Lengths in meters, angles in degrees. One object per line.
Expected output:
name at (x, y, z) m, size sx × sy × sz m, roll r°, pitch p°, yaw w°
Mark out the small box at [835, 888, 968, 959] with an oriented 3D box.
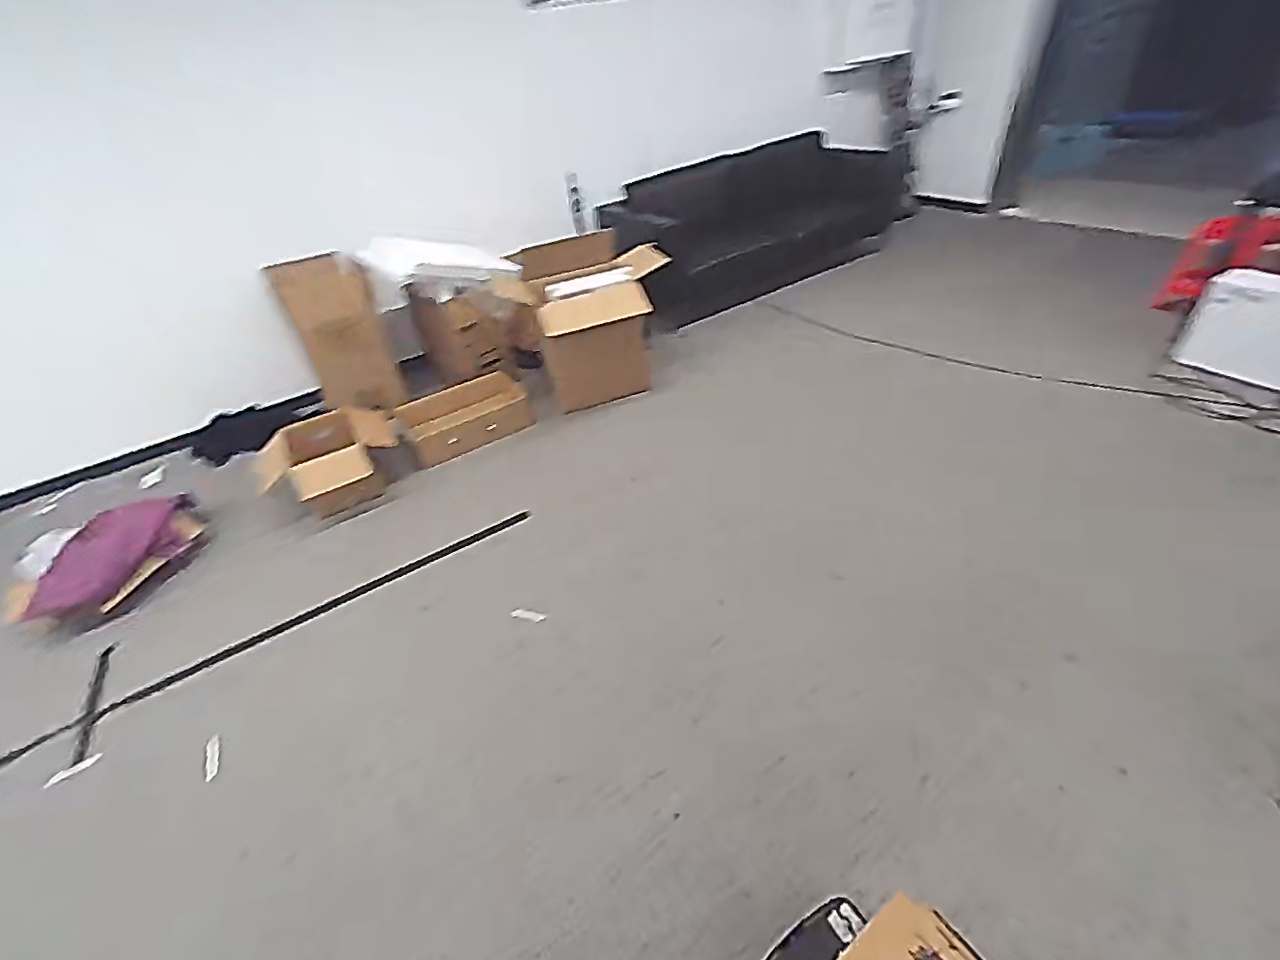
small box at (0.370, 0.736, 0.761) m, size 0.179 × 0.176 × 0.168 m, roll -28°, pitch 42°, yaw -22°
